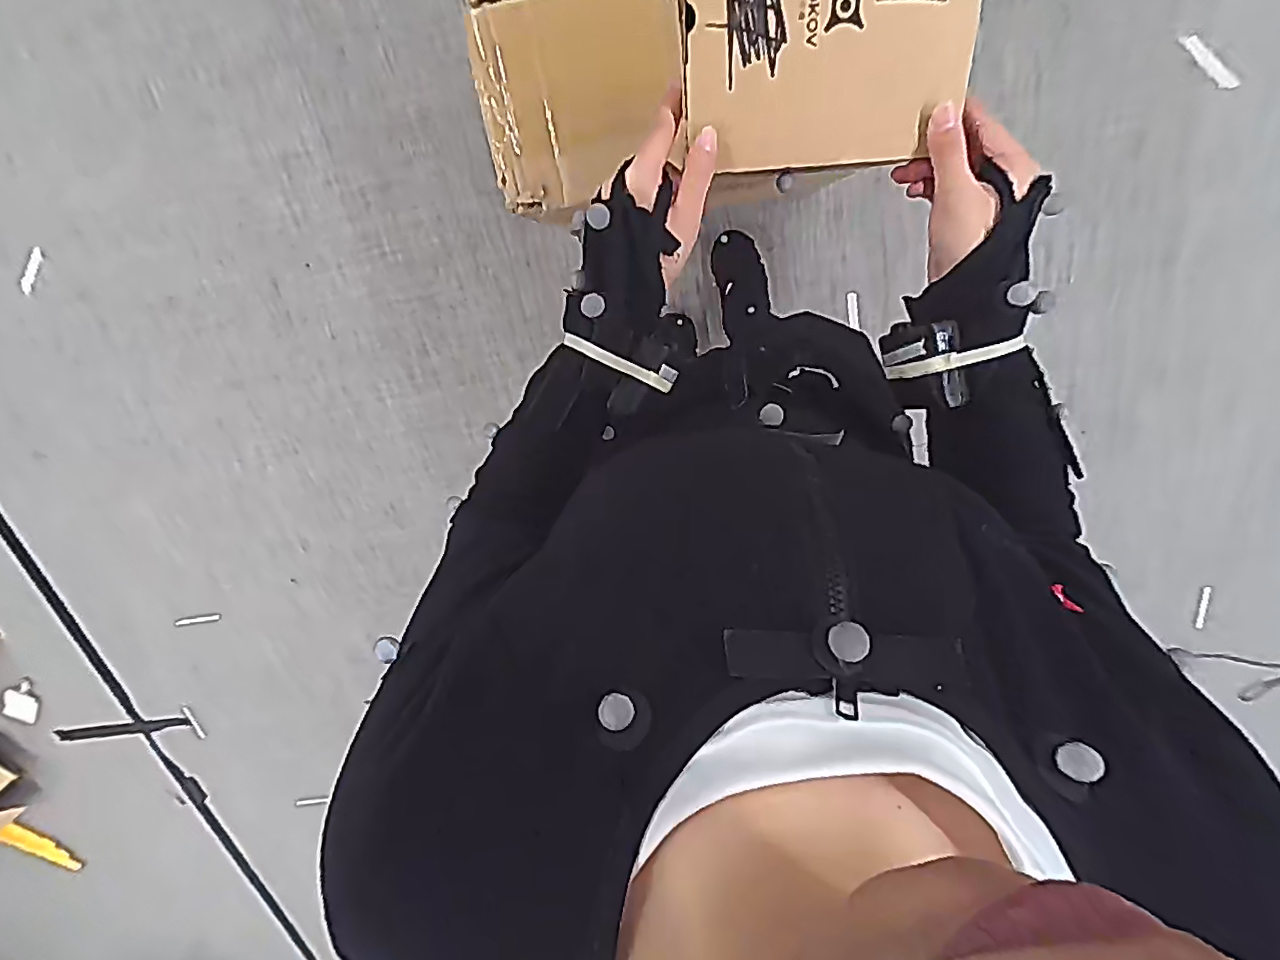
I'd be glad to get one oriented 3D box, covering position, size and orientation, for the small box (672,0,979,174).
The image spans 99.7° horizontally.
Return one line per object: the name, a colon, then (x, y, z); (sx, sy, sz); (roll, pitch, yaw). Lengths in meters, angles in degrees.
small box: (0.112, -0.319, 0.384); (0.179, 0.176, 0.168); (-3, 117, 2)
